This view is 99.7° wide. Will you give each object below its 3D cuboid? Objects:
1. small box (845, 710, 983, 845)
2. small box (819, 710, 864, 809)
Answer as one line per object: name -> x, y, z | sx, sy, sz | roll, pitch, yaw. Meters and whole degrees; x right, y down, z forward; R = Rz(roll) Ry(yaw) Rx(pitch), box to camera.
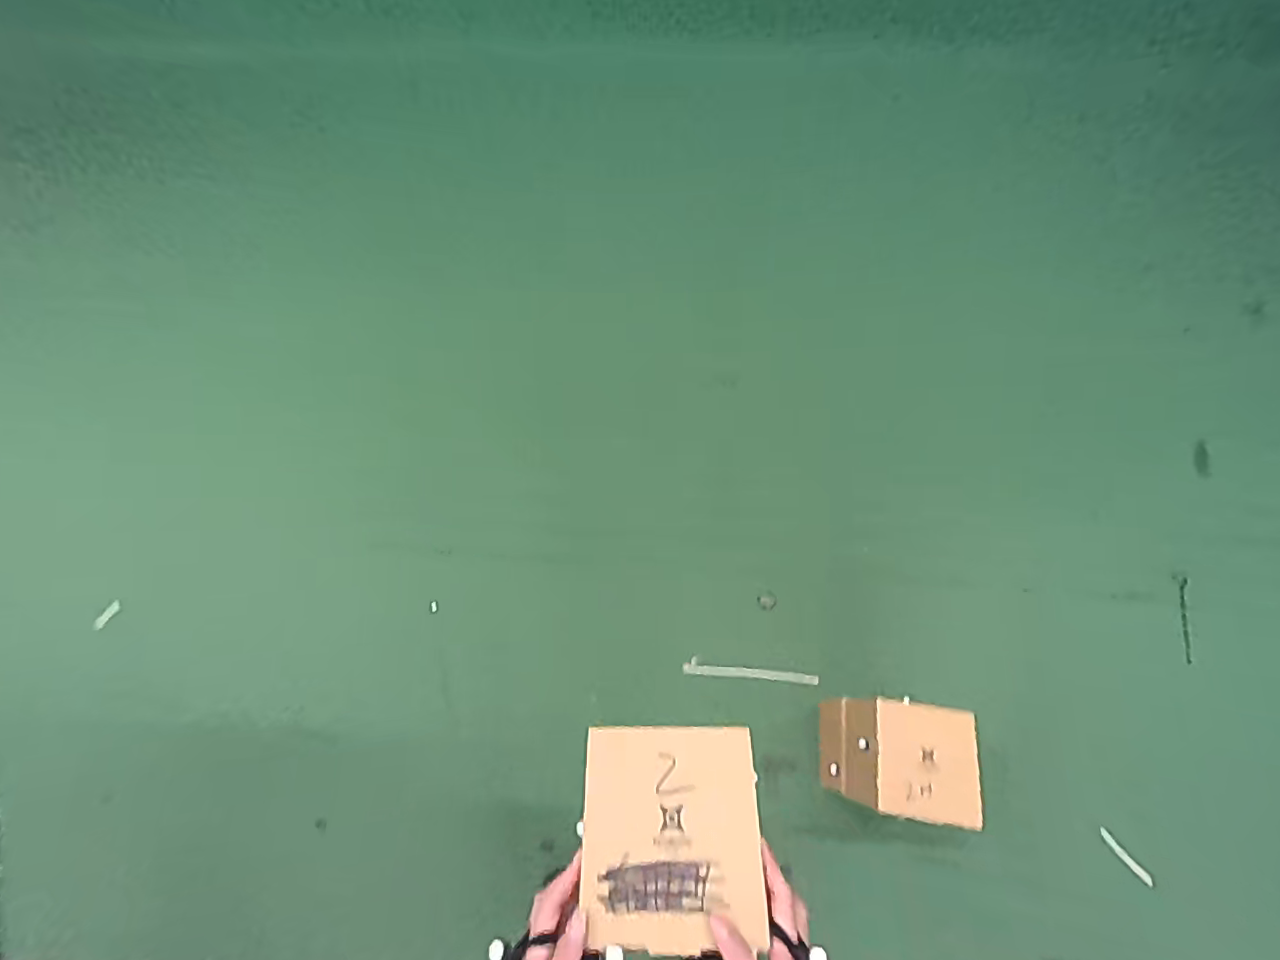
small box -> 0.475, 0.519, 0.965 | 0.168, 0.176, 0.179 | 8, 67, 5
small box -> 0.475, 0.582, 1.117 | 0.168, 0.176, 0.179 | 6, 66, 4
